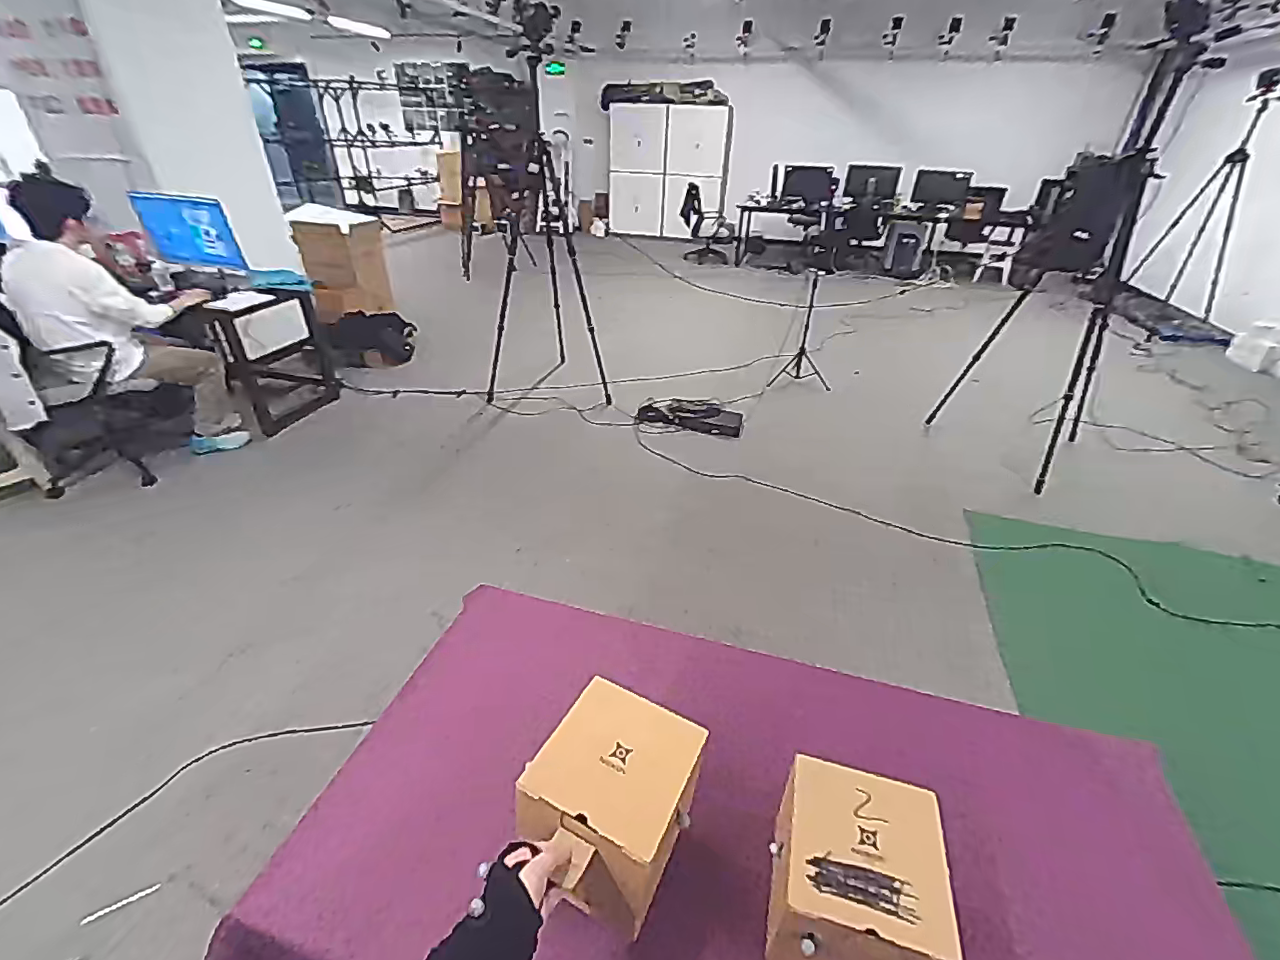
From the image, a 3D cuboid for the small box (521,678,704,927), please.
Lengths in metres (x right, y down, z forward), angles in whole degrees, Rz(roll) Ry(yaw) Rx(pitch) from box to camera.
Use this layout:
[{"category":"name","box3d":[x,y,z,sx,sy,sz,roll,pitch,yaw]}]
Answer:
[{"category":"small box","box3d":[-0.037,0.399,0.684,0.168,0.176,0.179,19,32,20]}]
